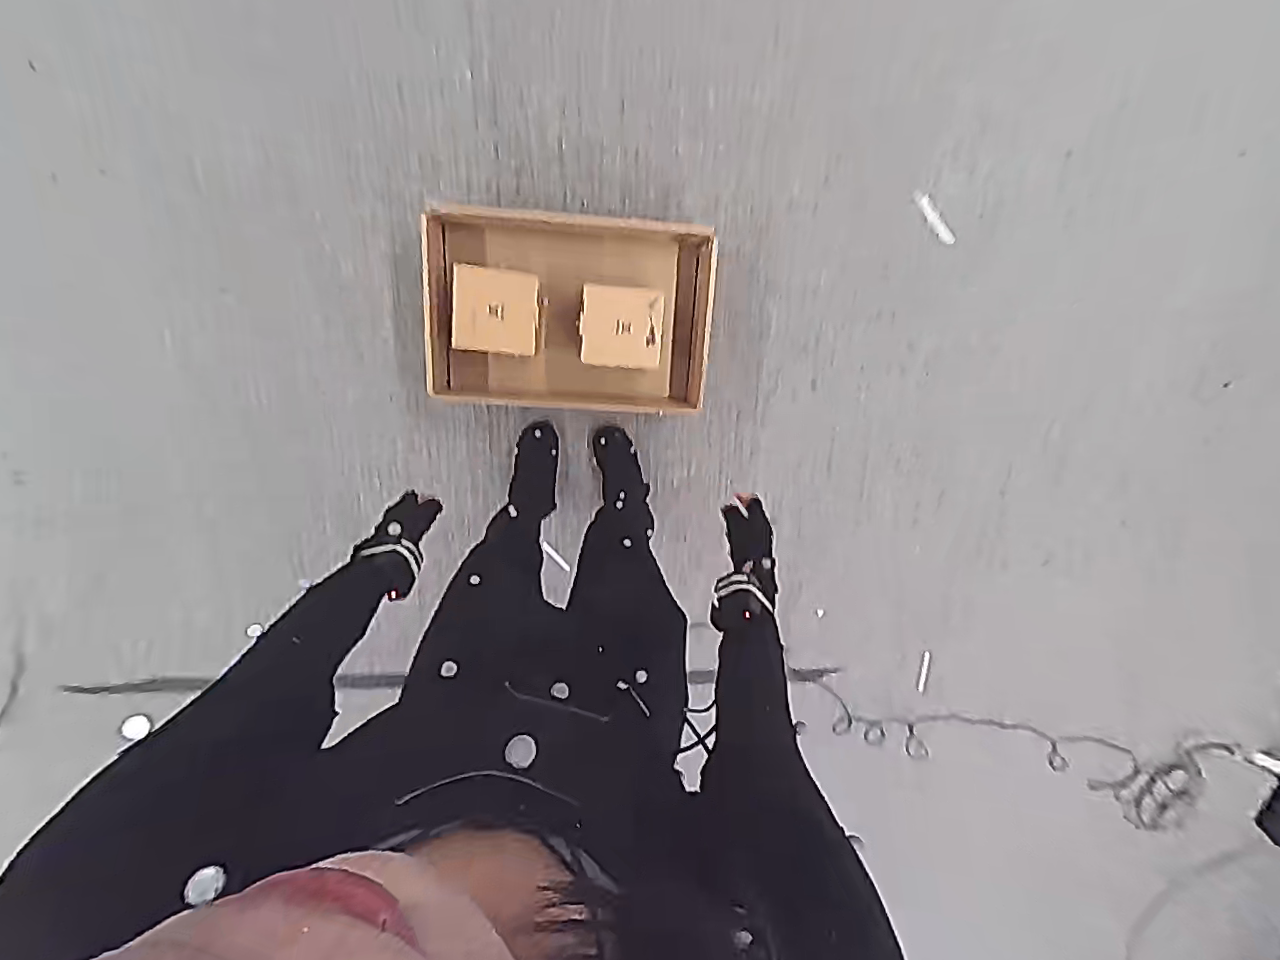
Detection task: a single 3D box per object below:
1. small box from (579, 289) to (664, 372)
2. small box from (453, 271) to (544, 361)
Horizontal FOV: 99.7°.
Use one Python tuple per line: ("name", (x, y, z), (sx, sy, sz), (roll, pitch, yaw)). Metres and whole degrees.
("small box", (-0.045, -0.341, 1.245), (0.179, 0.176, 0.168), (3, 105, -4))
("small box", (-0.310, -0.362, 1.211), (0.179, 0.176, 0.168), (5, 104, -7))
